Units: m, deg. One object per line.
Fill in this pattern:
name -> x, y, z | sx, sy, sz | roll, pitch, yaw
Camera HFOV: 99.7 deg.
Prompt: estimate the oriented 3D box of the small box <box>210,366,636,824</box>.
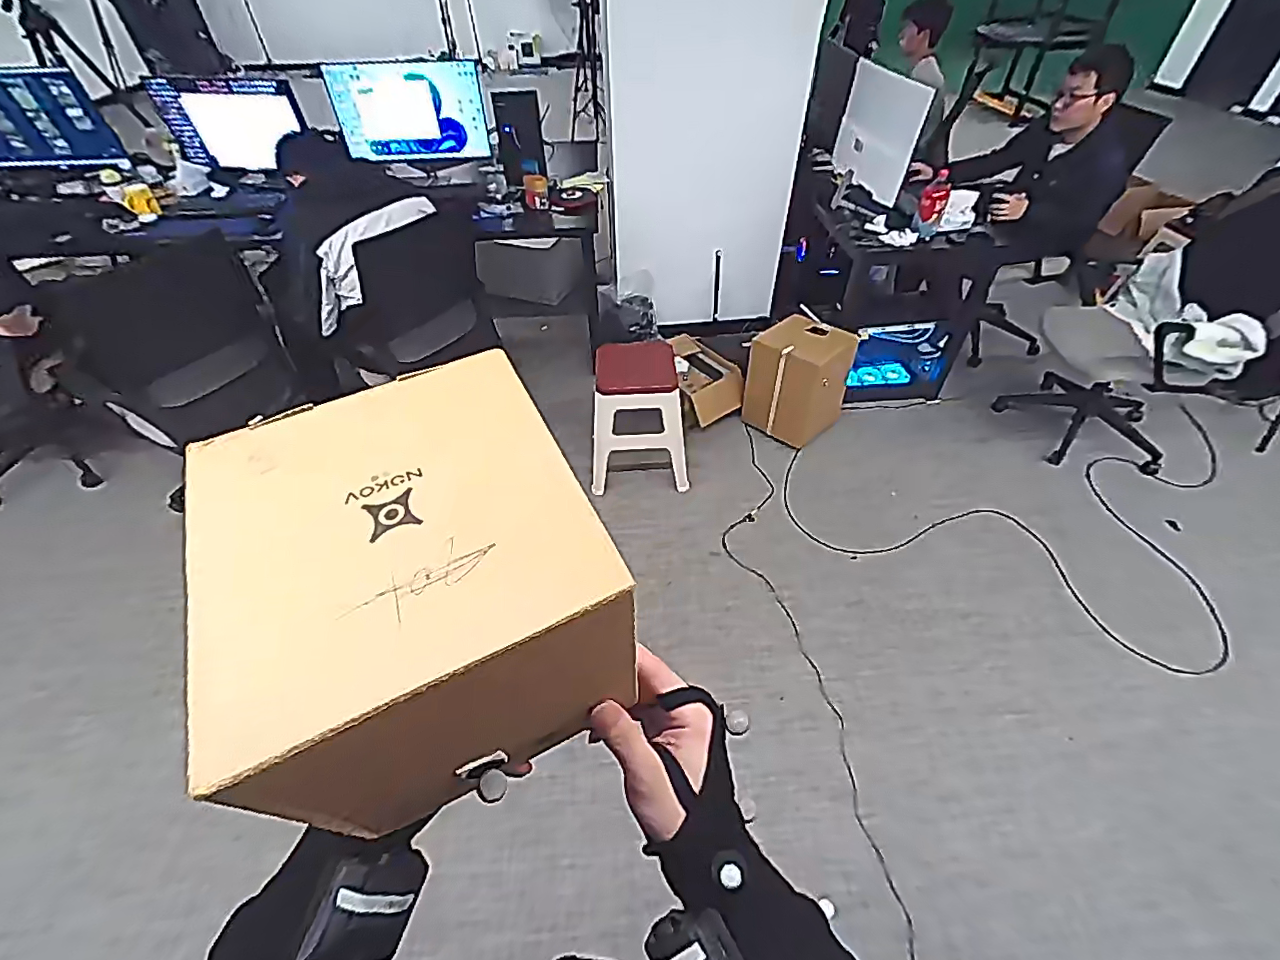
small box -> -0.113, 0.069, 0.322 | 0.168, 0.176, 0.179 | -24, 56, -16
